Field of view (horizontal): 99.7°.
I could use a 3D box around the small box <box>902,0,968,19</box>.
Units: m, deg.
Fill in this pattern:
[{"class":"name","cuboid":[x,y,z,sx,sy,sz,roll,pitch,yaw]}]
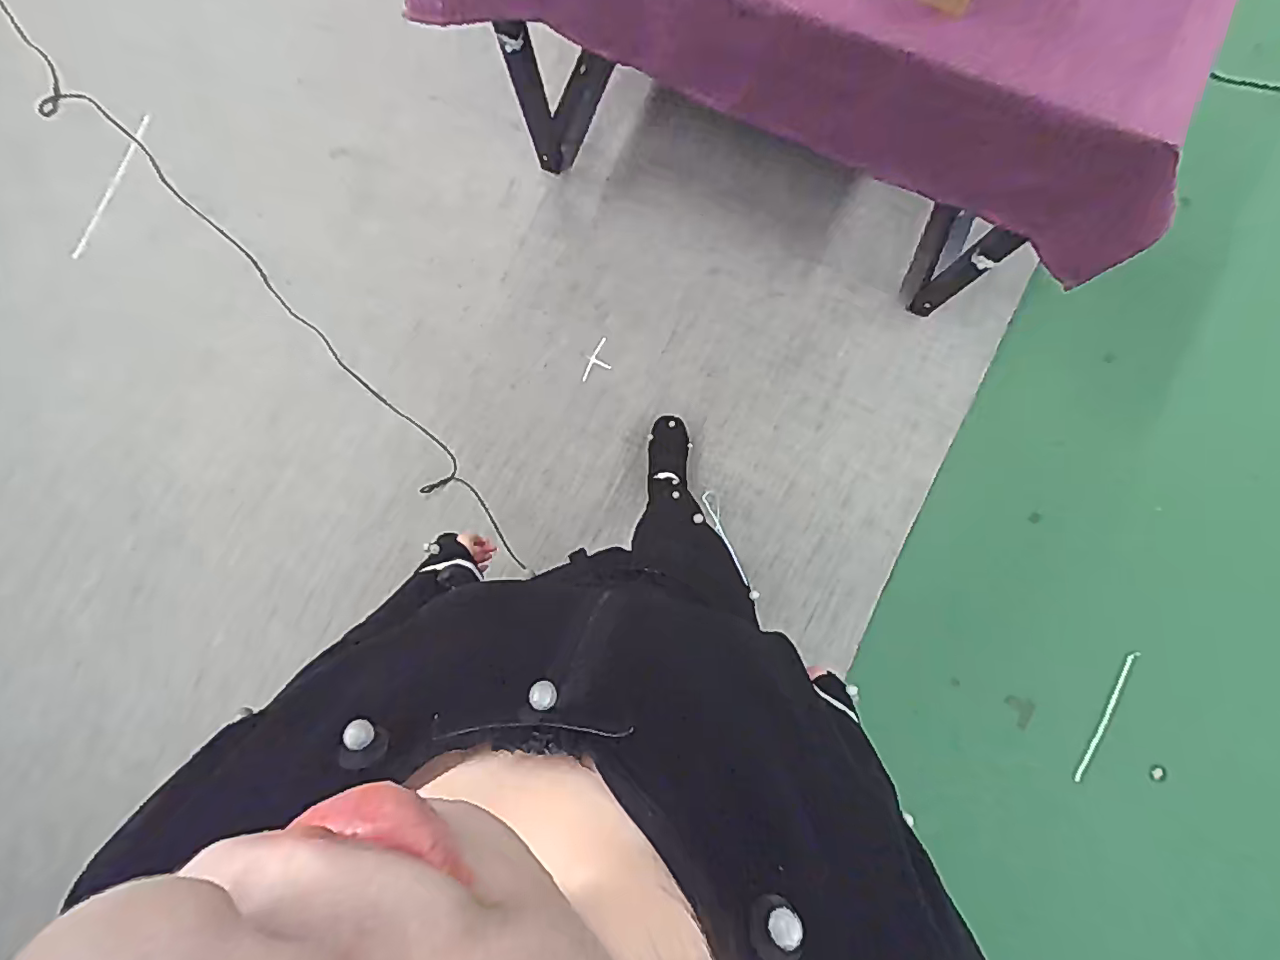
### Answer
[{"class":"small box","cuboid":[0.428,-0.793,0.726,0.168,0.176,0.179,26,88,3]}]
